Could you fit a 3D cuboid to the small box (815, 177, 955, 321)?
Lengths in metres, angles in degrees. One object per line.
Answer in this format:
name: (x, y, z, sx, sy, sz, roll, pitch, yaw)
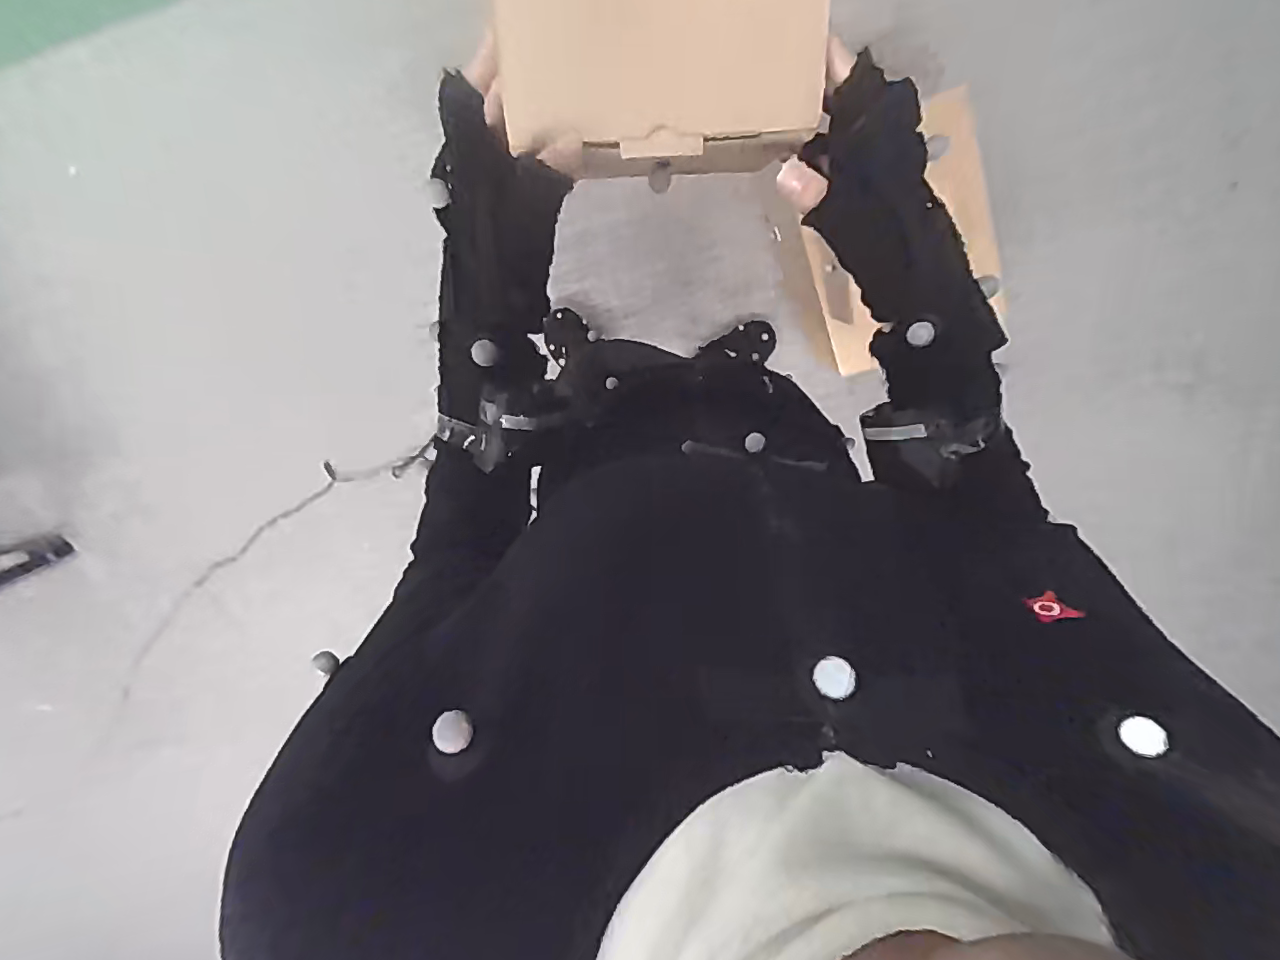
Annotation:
small box: (0.402, -0.378, 0.905, 0.168, 0.176, 0.179, -12, 107, 10)
